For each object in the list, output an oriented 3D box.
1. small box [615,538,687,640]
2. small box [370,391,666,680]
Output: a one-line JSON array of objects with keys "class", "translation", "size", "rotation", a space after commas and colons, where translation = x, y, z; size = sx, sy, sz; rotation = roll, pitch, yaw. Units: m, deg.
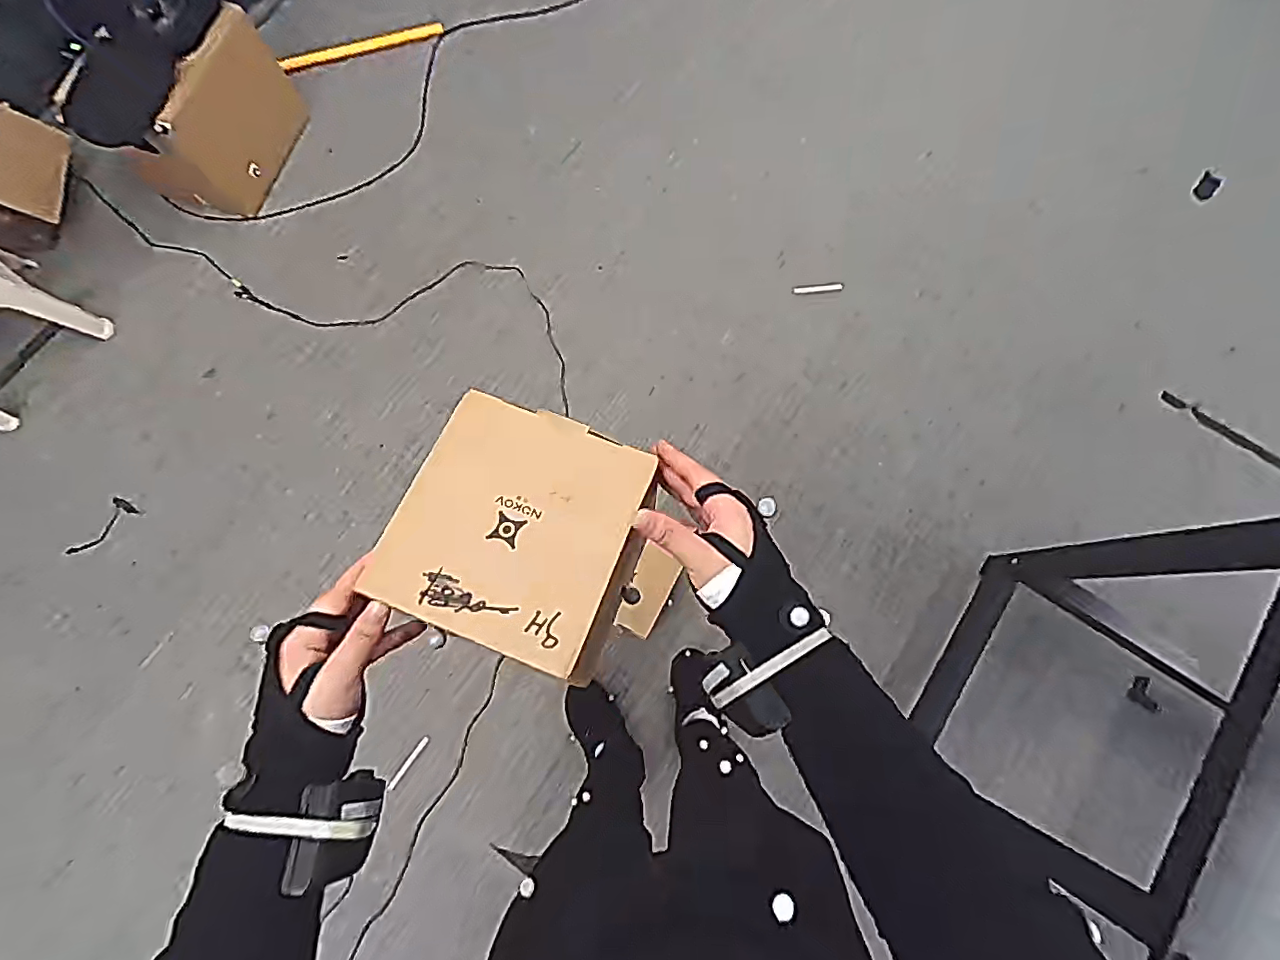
[{"class": "small box", "translation": [-0.018, 0.207, 1.107], "size": [0.168, 0.176, 0.179], "rotation": [27, 77, 6]}, {"class": "small box", "translation": [-0.088, 0.059, 0.476], "size": [0.168, 0.176, 0.179], "rotation": [21, 69, 7]}]
